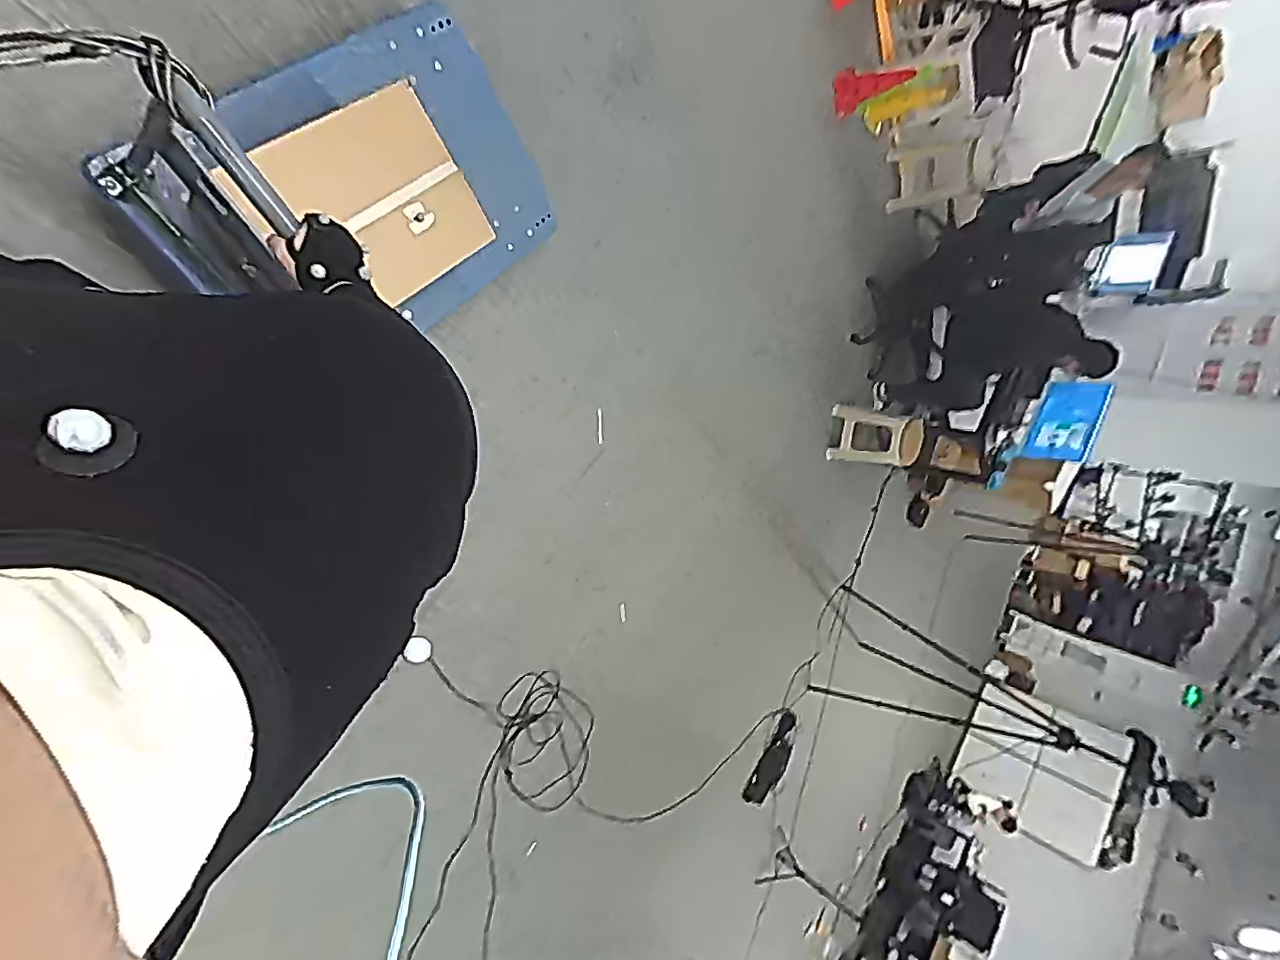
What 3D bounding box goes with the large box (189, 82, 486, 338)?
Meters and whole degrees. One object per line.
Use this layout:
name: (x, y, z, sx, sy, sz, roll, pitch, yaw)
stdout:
large box: (-0.621, -0.540, 1.136, 0.408, 0.320, 0.320, -49, 131, -25)
